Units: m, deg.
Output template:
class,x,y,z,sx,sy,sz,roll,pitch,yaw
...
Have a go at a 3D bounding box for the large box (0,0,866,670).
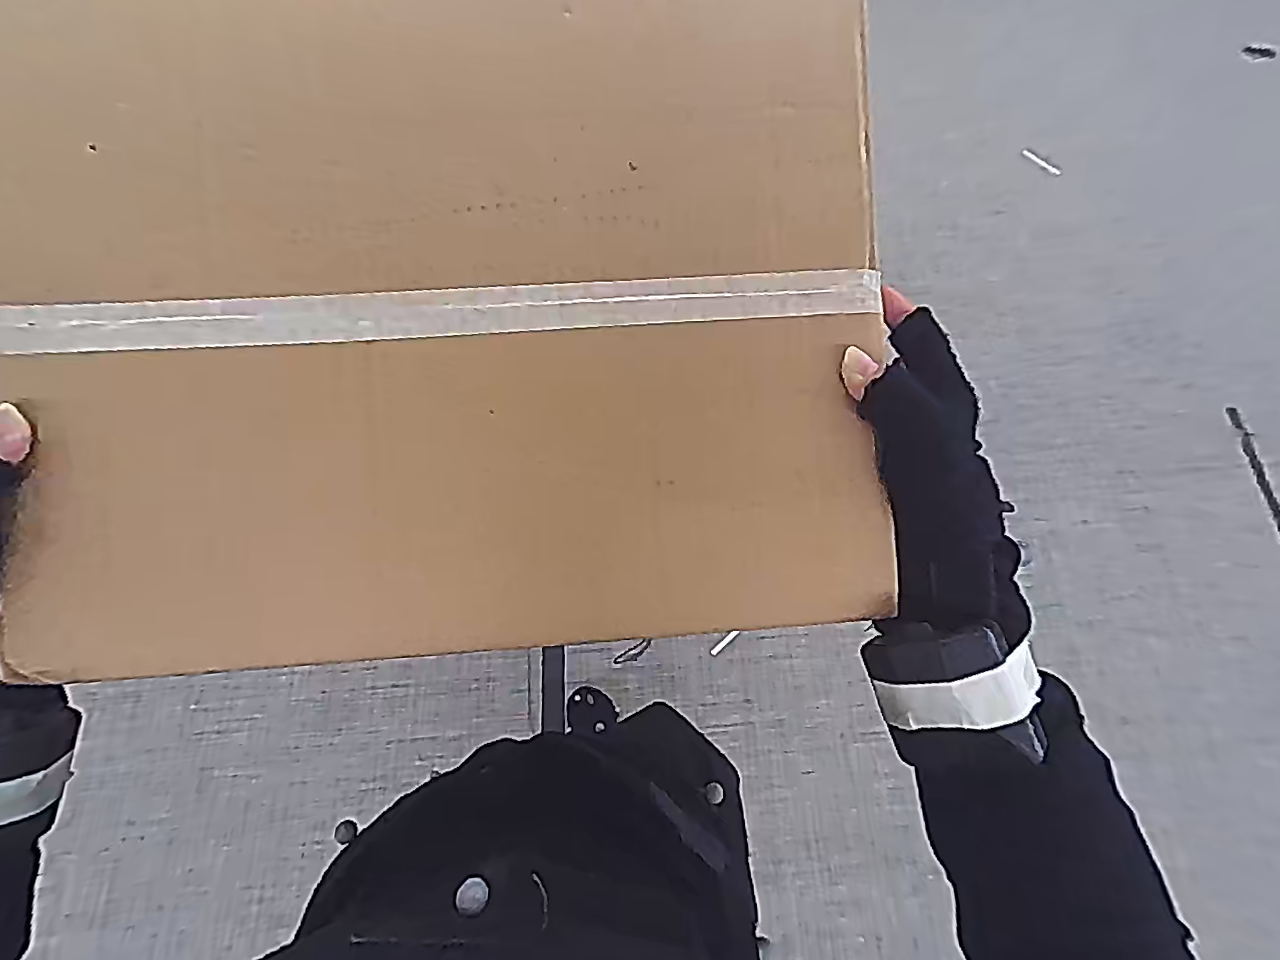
class,x,y,z,sx,sy,sz,roll,pitch,yaw
large box,-0.098,-0.080,0.408,0.408,0.320,0.320,-3,90,-4
